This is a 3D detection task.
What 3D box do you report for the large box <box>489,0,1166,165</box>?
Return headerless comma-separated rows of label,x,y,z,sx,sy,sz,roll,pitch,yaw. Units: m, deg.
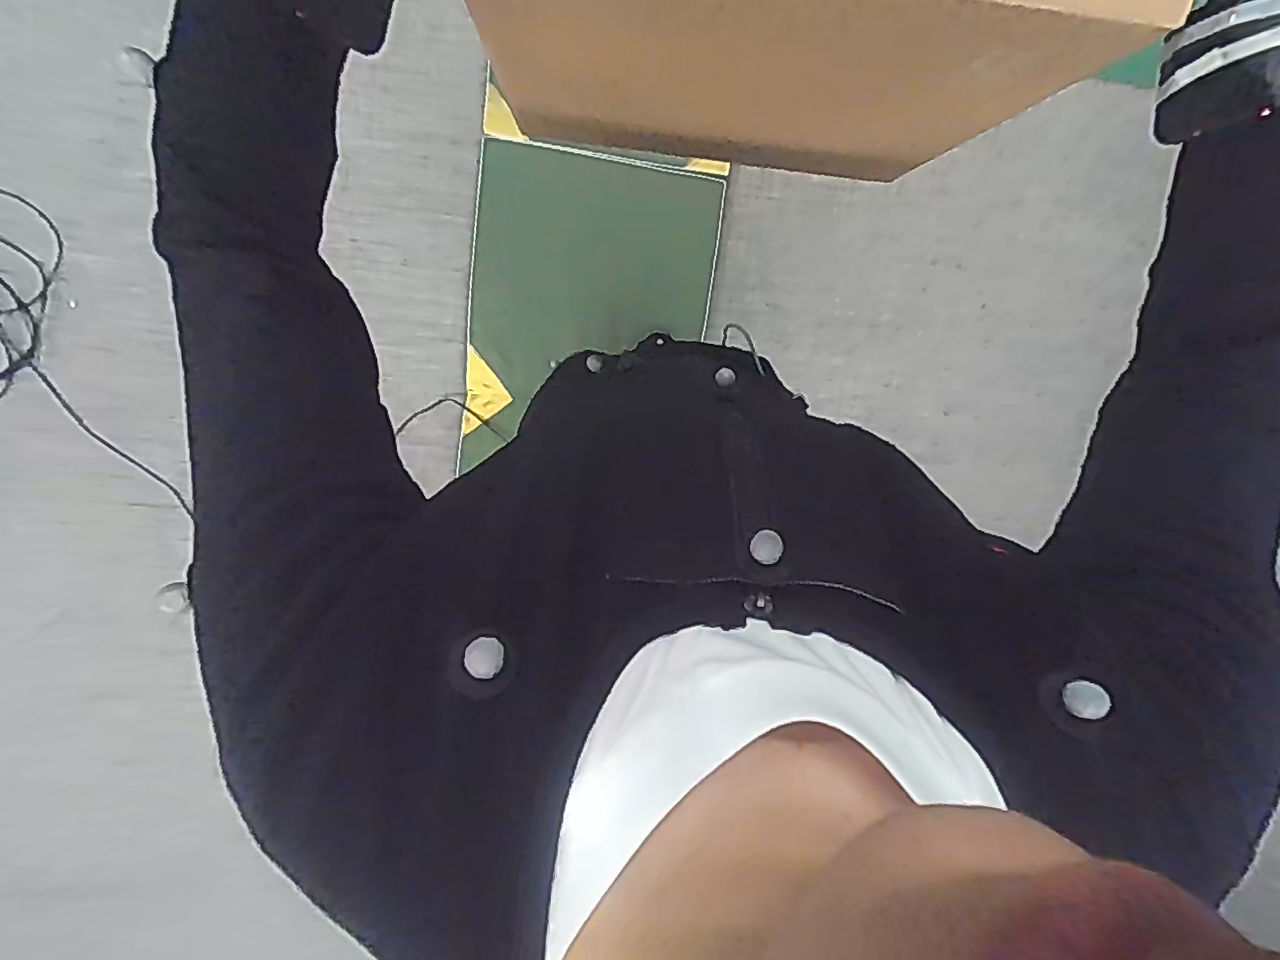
large box,0.100,-0.460,0.393,0.408,0.320,0.320,3,105,-6
